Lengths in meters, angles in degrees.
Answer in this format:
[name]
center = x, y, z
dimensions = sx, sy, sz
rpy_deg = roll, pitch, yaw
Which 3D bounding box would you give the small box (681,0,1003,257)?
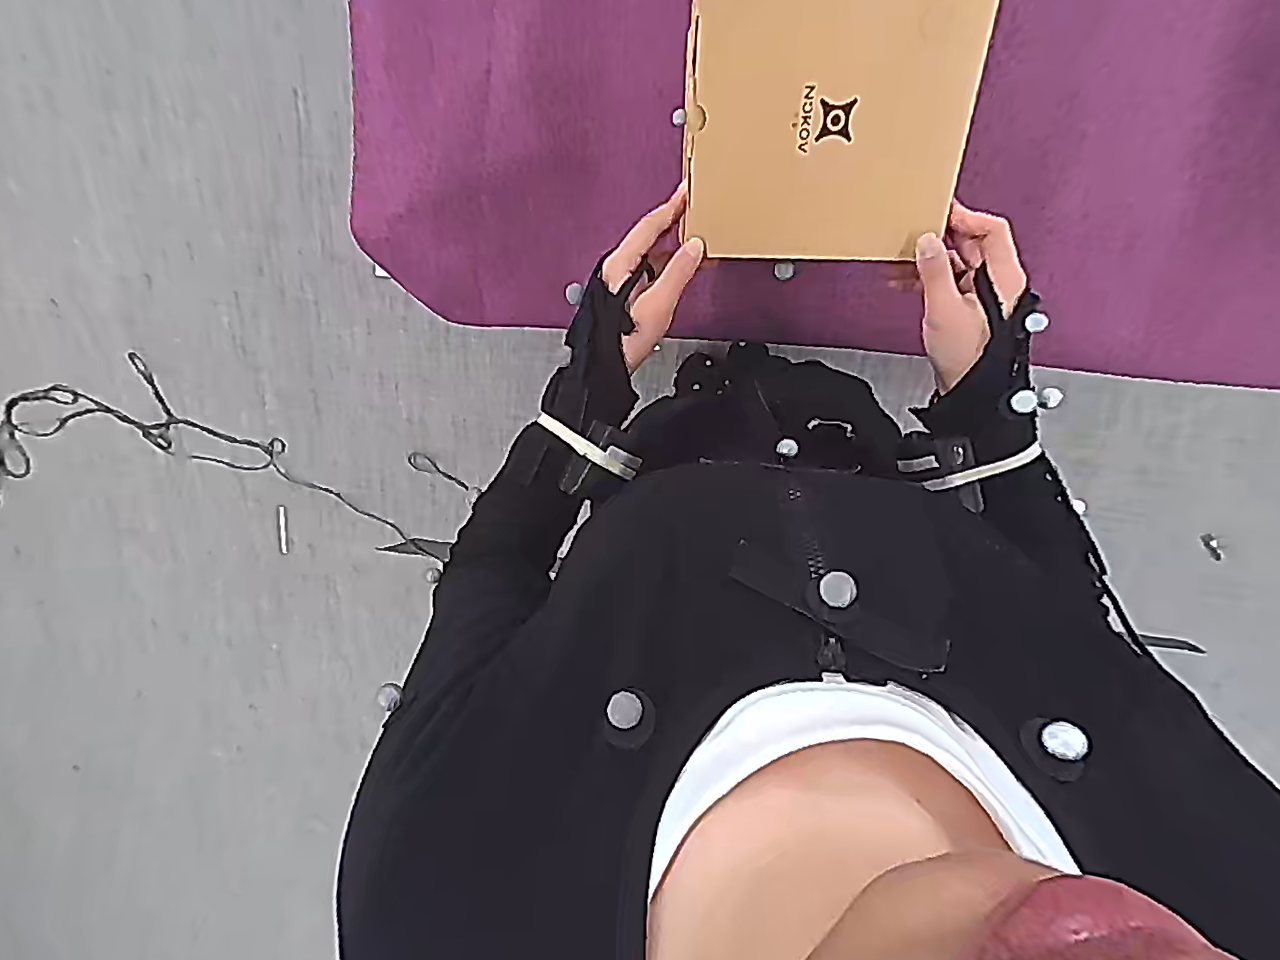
[small box]
center = 0.124, -0.266, 0.407
dimensions = 0.179, 0.176, 0.168
rpy_deg = 2, 116, 3
